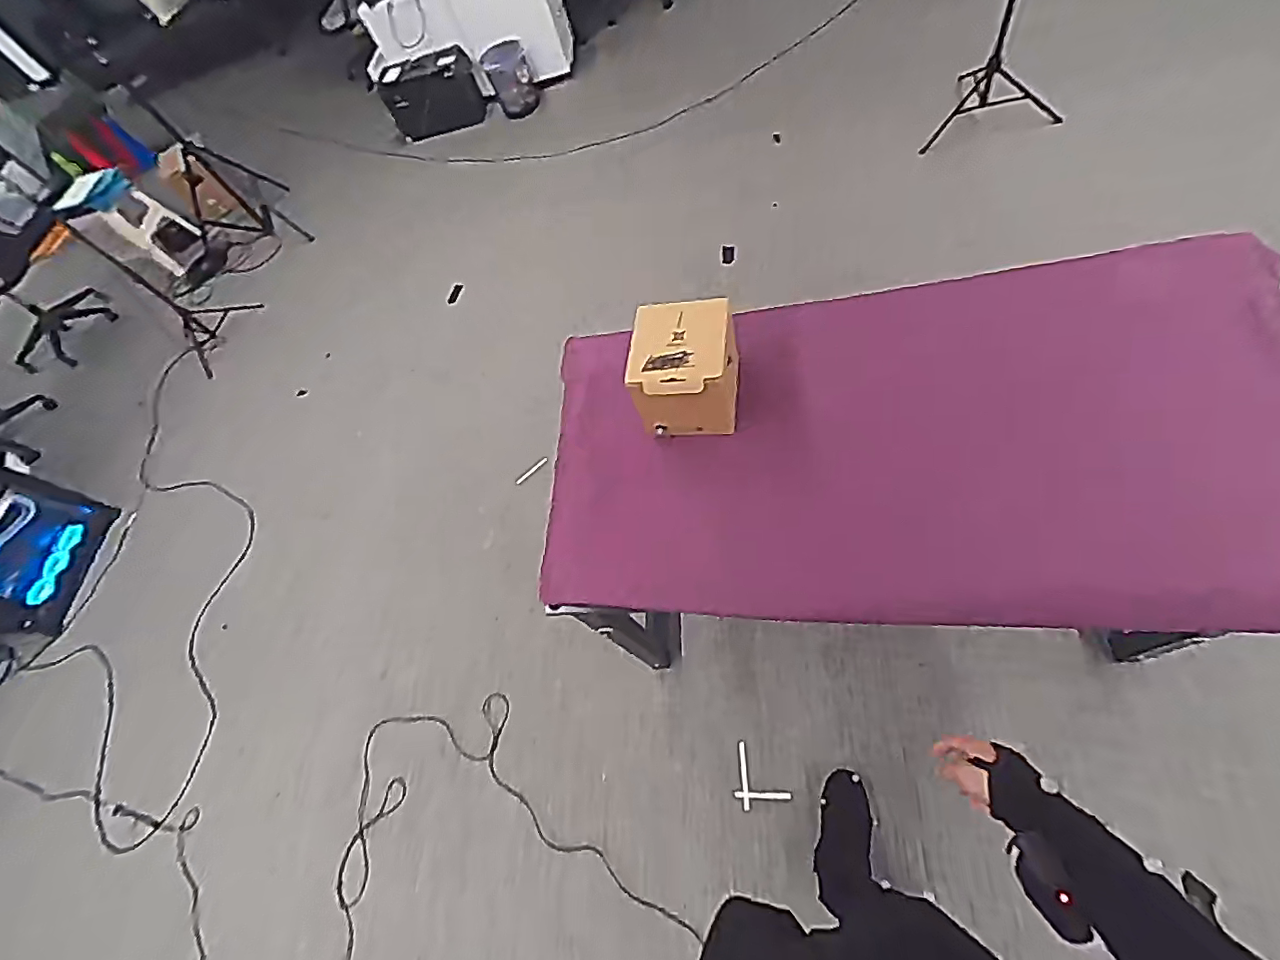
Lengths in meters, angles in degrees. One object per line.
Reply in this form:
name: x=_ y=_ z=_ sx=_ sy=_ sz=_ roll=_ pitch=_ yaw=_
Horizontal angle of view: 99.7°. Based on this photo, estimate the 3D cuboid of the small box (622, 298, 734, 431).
small box: x=0.078 y=-0.198 z=0.976 sx=0.168 sy=0.176 sz=0.179 roll=0 pitch=63 yaw=16
